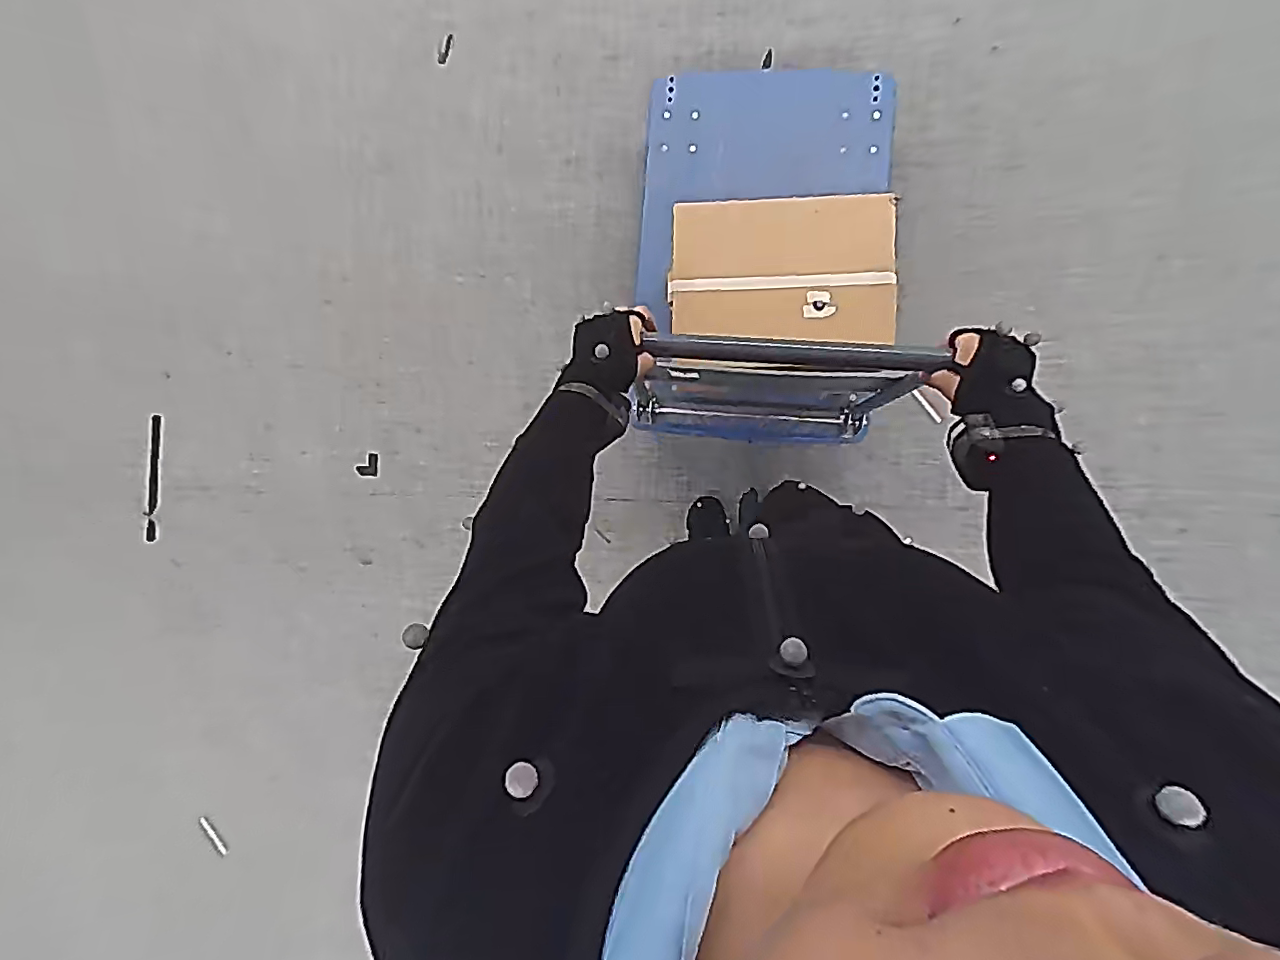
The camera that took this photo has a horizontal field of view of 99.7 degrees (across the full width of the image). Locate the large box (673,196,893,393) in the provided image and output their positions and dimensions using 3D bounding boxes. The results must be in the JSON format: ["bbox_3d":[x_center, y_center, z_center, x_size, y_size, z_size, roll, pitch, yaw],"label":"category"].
[{"bbox_3d":[0.278,-0.367,1.157,0.408,0.320,0.320,0,91,5],"label":"large box"}]
